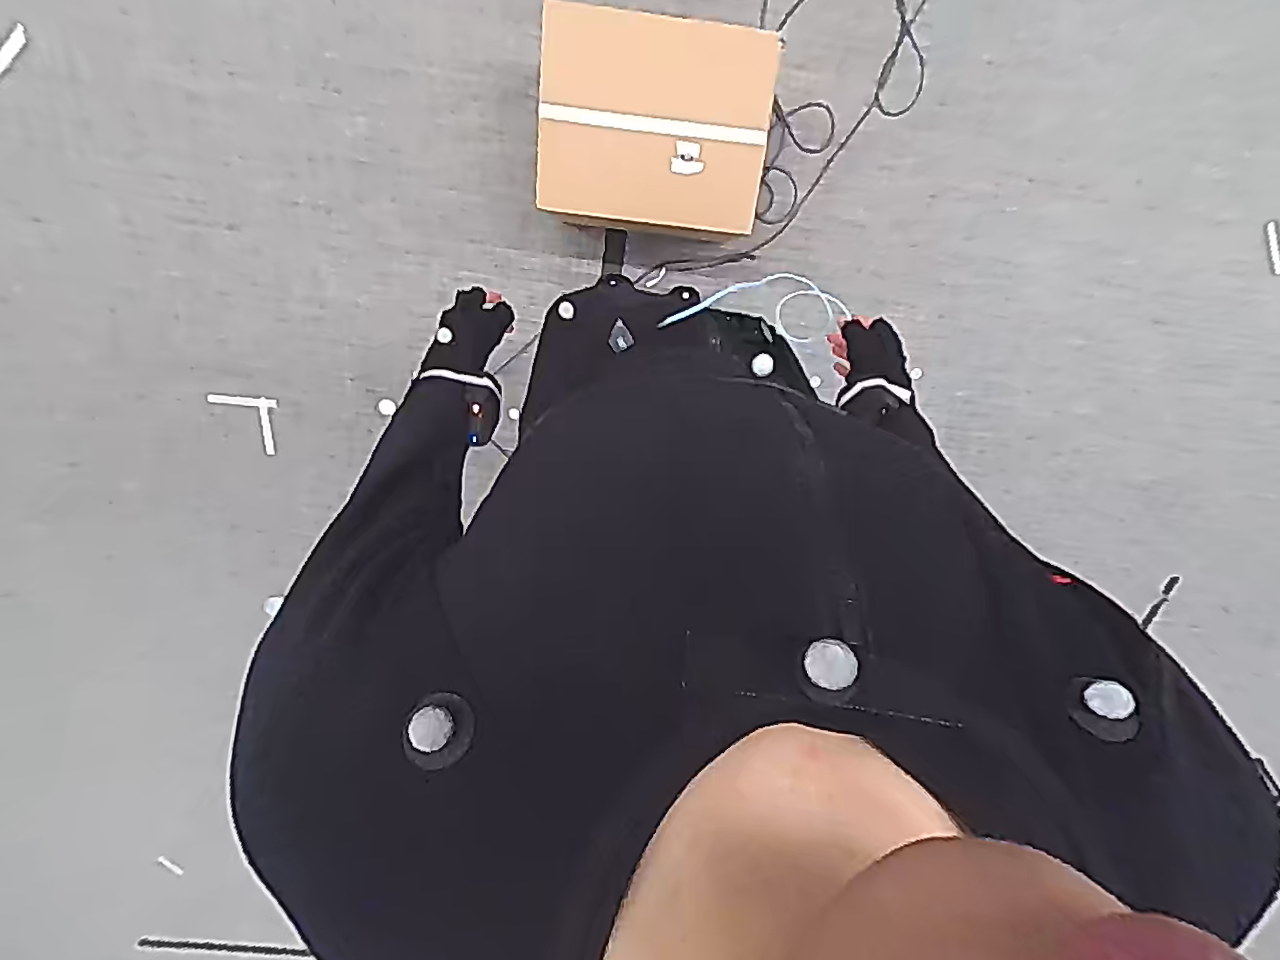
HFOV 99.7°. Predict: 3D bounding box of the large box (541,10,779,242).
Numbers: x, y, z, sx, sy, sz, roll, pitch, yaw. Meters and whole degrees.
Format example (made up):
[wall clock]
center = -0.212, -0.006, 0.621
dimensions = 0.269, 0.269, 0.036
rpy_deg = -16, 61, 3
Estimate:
[large box]
center = 0.022, -0.678, 1.102
dimensions = 0.408, 0.320, 0.320
rpy_deg = 6, 112, -3
